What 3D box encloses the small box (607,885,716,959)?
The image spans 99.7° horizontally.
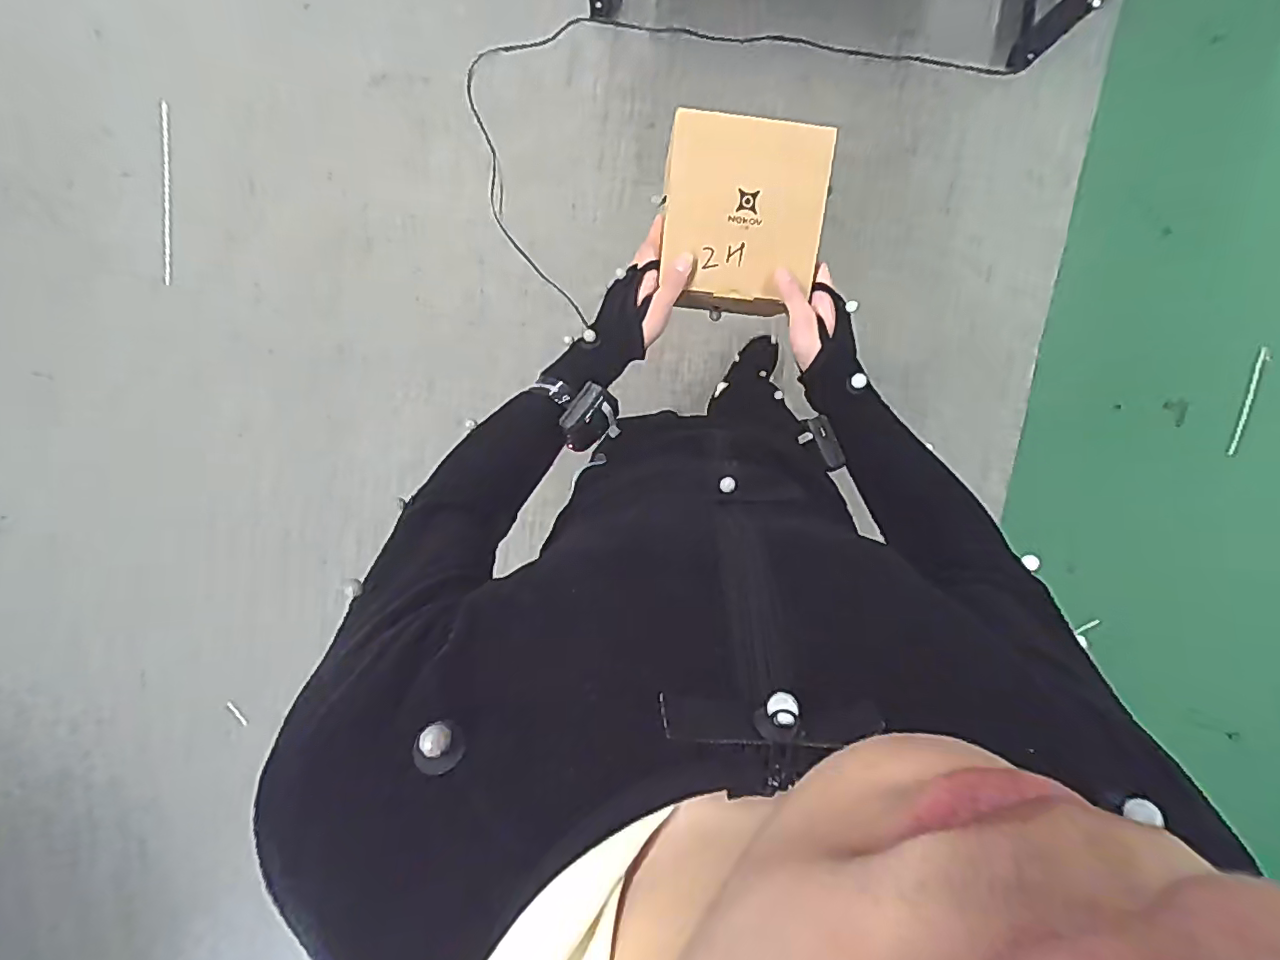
[{"bbox_3d":[0.030,0.833,0.910,0.168,0.176,0.179,9,99,-1],"label":"small box"}]

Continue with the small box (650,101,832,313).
[{"bbox_3d":[0.103,-0.302,0.636,0.168,0.176,0.179,6,103,-2],"label":"small box"}]
